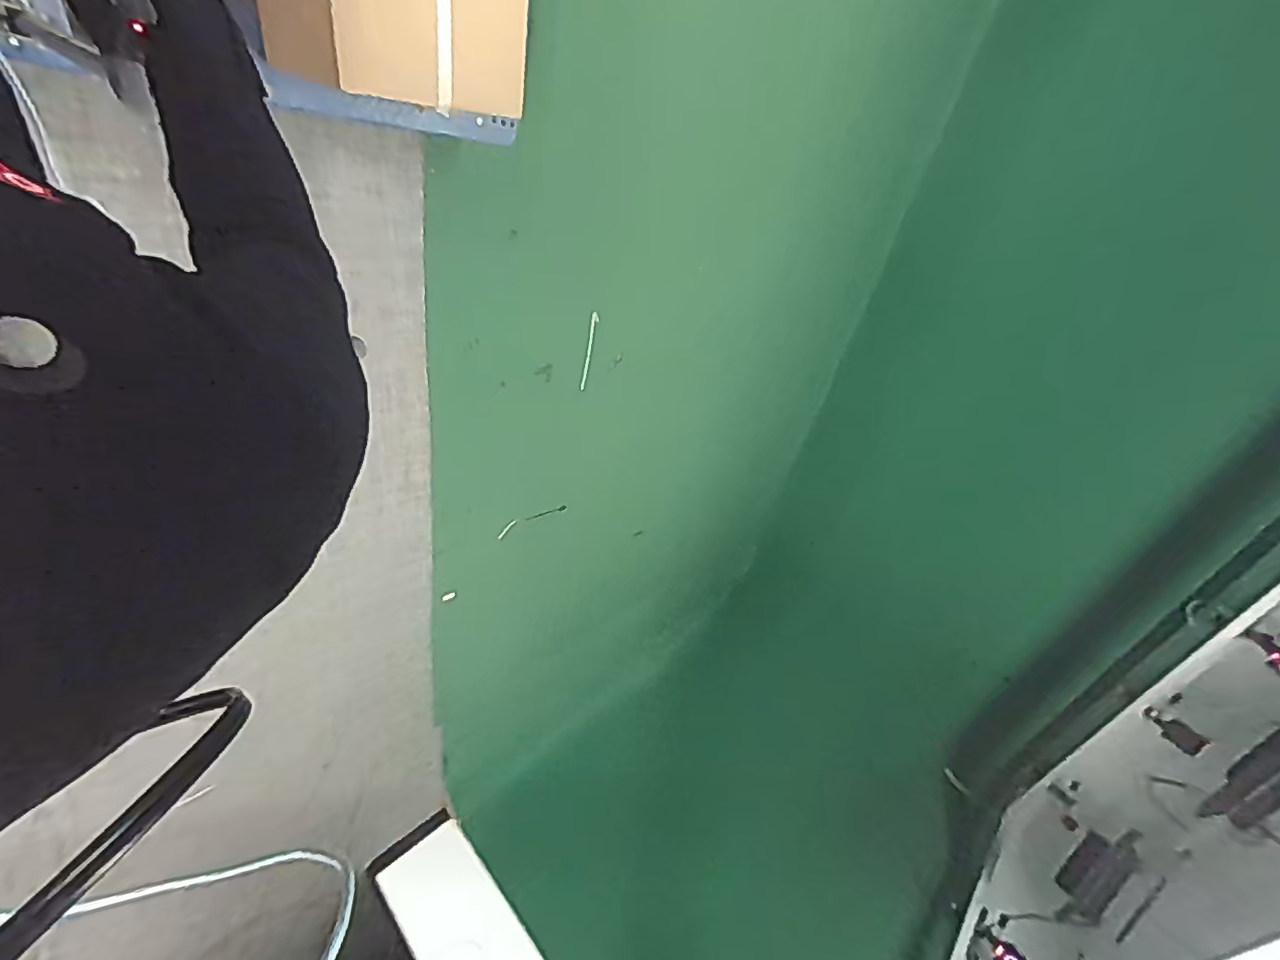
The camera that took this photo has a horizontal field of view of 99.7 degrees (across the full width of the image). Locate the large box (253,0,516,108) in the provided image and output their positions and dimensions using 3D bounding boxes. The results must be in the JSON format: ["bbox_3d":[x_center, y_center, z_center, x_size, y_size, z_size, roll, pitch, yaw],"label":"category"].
[{"bbox_3d":[-0.404,-0.849,0.834,0.320,0.320,0.408,-25,138,-41],"label":"large box"}]
